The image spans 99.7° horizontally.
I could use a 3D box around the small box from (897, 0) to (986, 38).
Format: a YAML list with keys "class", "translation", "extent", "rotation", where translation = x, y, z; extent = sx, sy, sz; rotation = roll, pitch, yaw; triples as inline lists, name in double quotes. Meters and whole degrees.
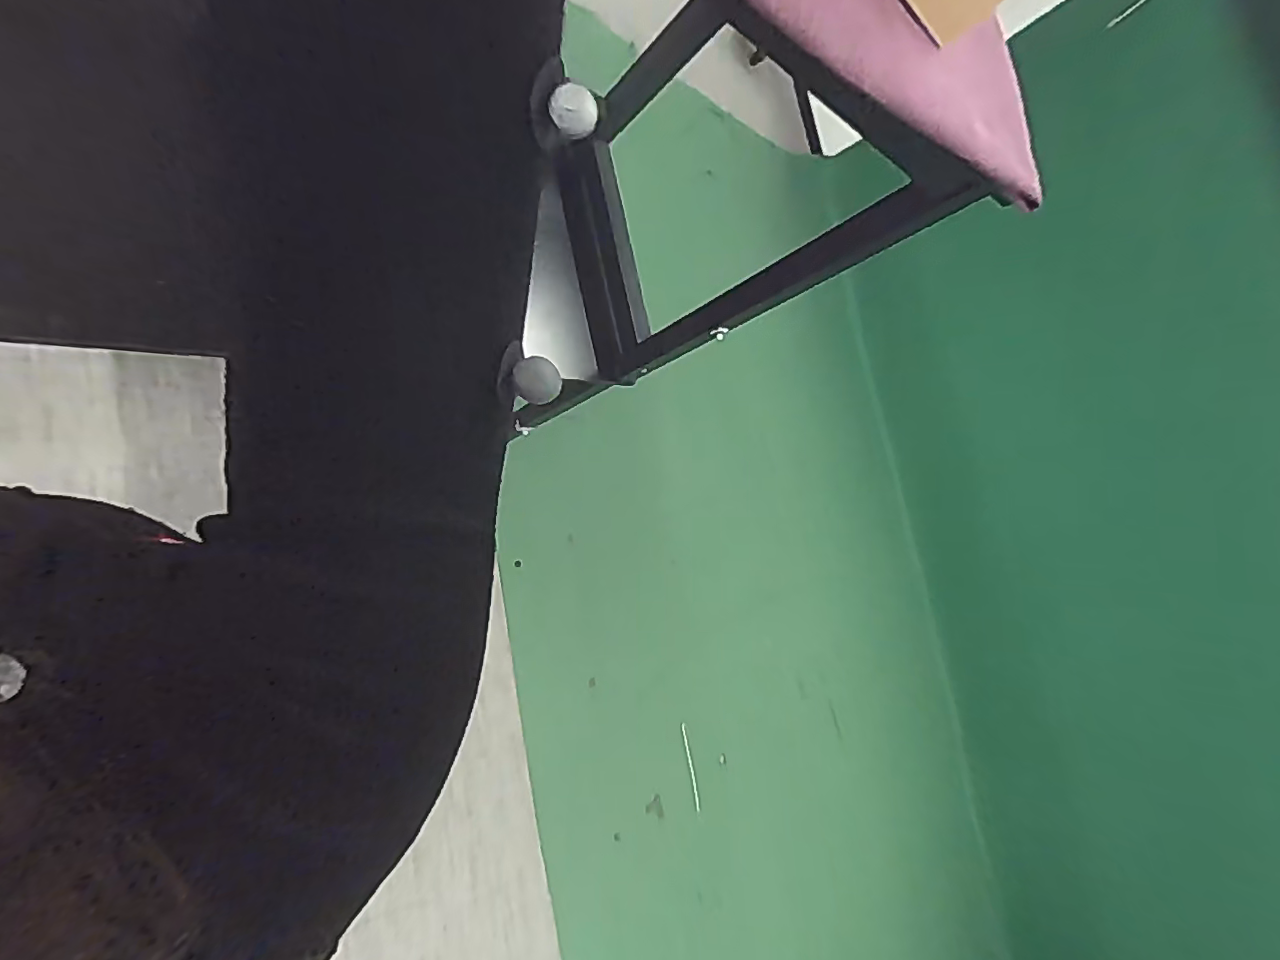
- class: "small box"
  translation: [0.262, -0.514, 0.427]
  extent: [0.179, 0.176, 0.168]
  rotation: [-4, 79, -44]
